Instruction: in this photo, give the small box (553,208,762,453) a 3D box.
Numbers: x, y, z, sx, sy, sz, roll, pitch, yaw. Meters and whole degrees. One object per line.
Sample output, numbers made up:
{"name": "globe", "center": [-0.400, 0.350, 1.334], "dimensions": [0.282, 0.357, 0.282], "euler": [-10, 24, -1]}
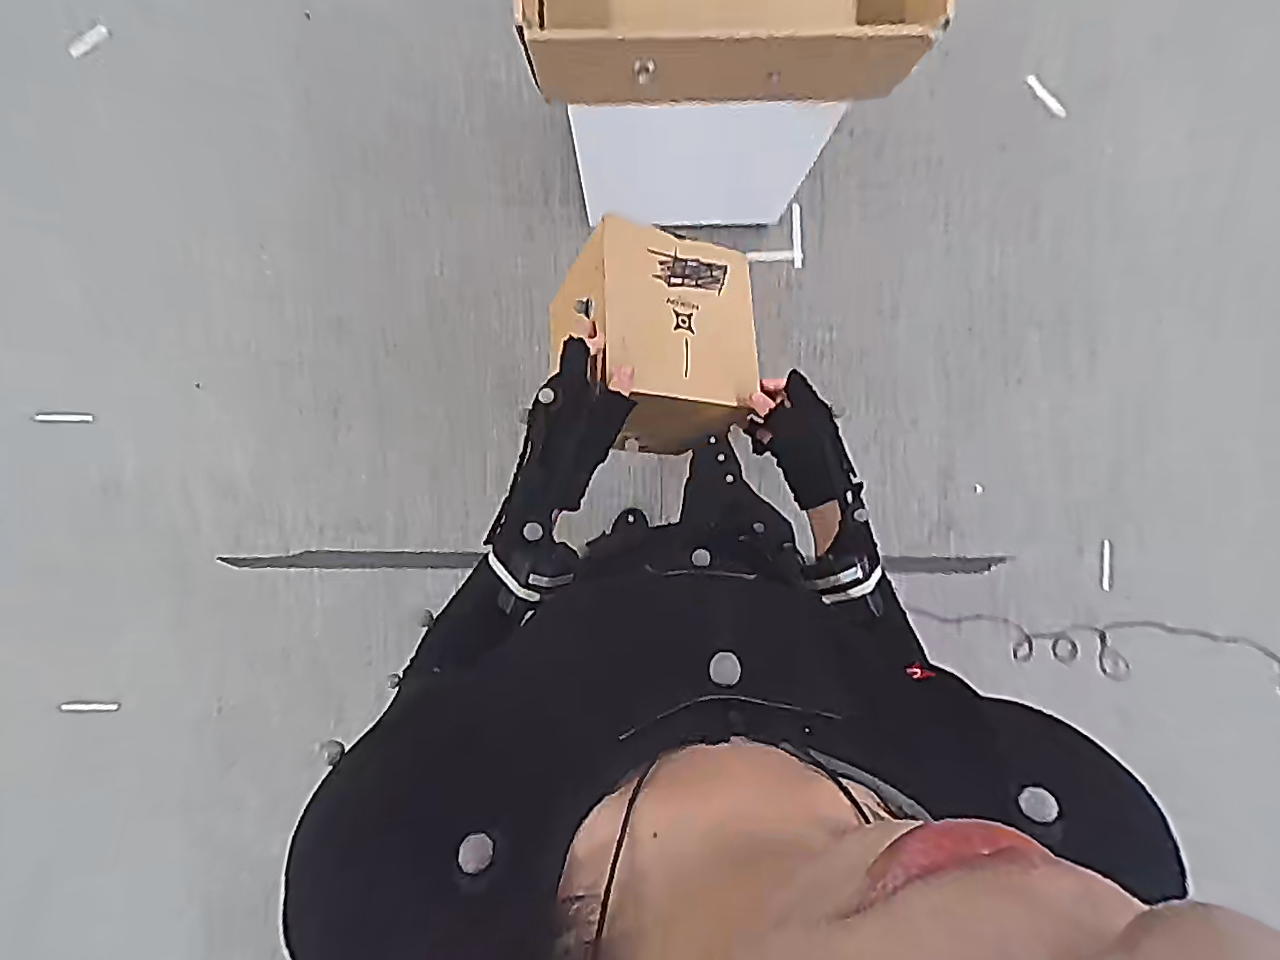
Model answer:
{"name": "small box", "center": [0.008, -0.143, 0.582], "dimensions": [0.168, 0.176, 0.179], "euler": [5, 74, -25]}
